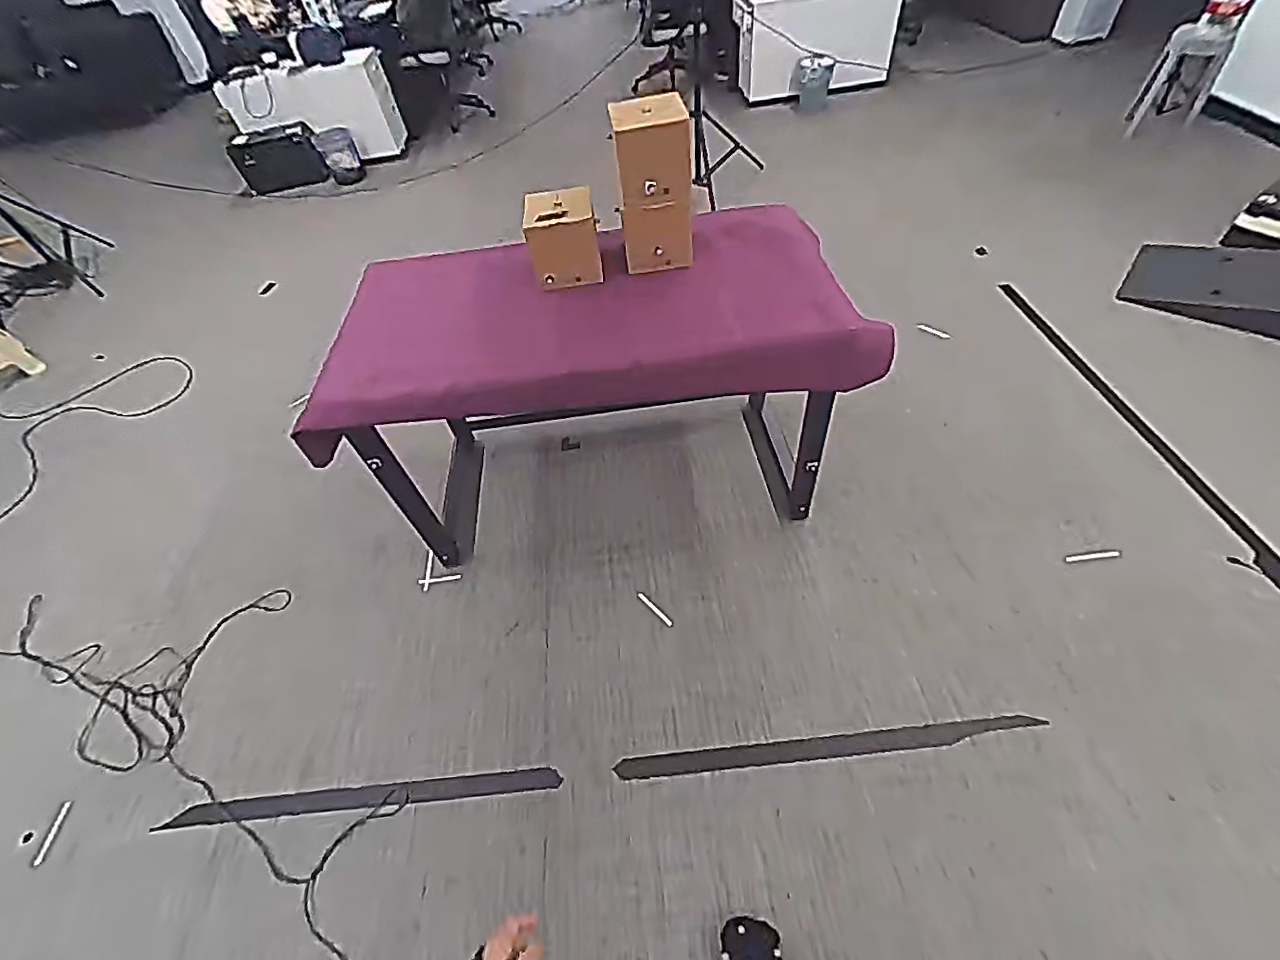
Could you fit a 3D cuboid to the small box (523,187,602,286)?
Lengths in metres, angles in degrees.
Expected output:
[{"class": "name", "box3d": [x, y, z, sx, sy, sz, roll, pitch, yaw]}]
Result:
[{"class": "small box", "box3d": [-0.190, -0.608, 1.369, 0.168, 0.176, 0.179, -8, 51, 1]}]

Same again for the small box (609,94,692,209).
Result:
[{"class": "small box", "box3d": [0.026, -0.759, 1.253, 0.168, 0.176, 0.179, -10, 52, 1]}]

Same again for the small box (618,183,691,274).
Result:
[{"class": "small box", "box3d": [0.037, -0.654, 1.377, 0.168, 0.176, 0.179, -8, 52, 2]}]
